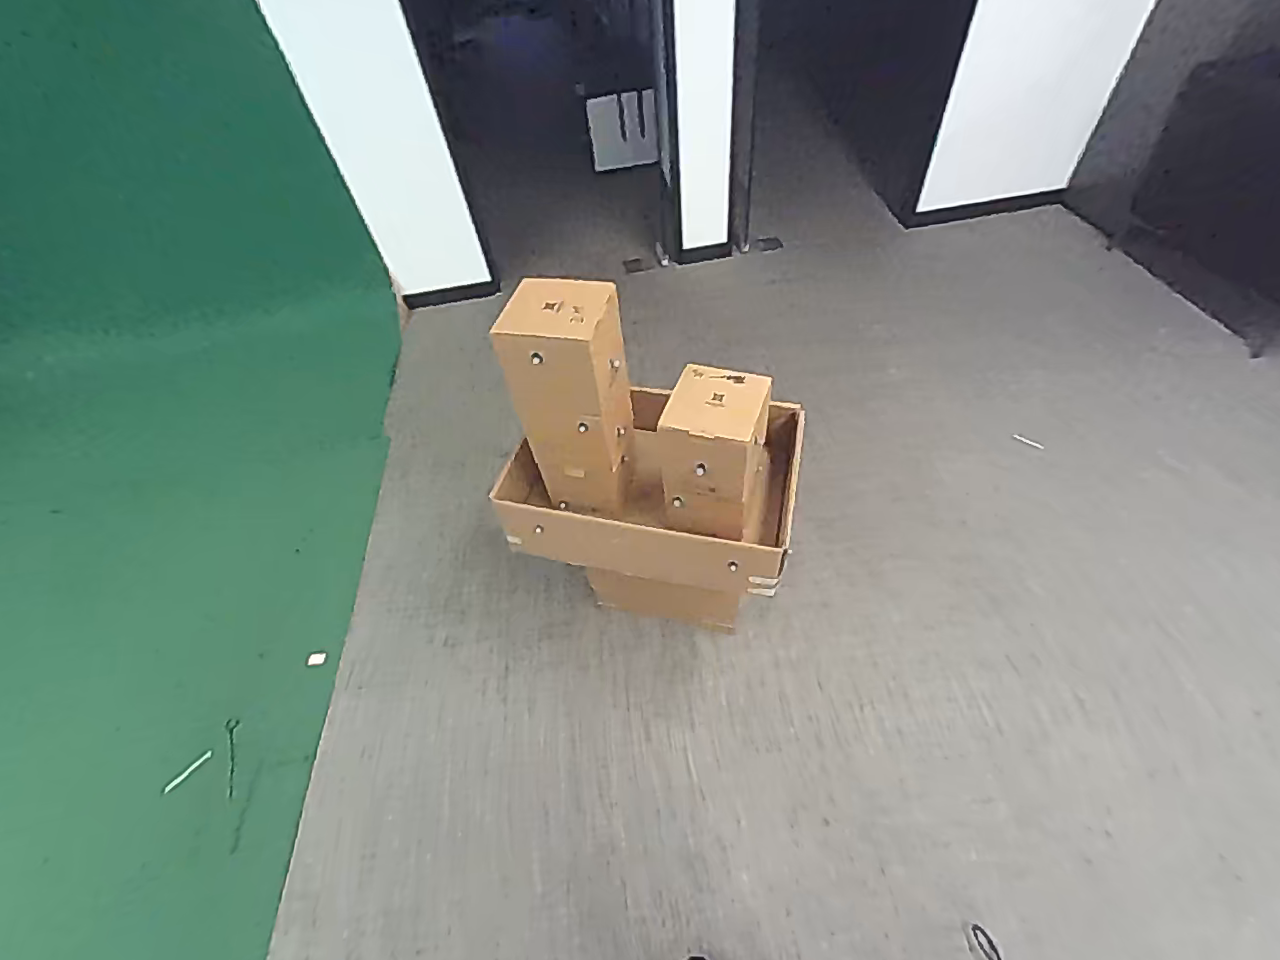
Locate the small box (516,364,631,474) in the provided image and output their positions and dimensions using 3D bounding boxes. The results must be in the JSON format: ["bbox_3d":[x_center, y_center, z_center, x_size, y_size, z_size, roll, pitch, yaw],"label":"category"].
[{"bbox_3d":[-0.126,-0.130,1.104,0.179,0.176,0.168,9,53,11],"label":"small box"}]

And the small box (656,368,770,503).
[{"bbox_3d":[0.142,-0.082,1.031,0.168,0.176,0.179,14,55,17],"label":"small box"}]

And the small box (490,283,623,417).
[{"bbox_3d":[-0.138,-0.231,0.974,0.179,0.176,0.168,8,53,11],"label":"small box"}]
